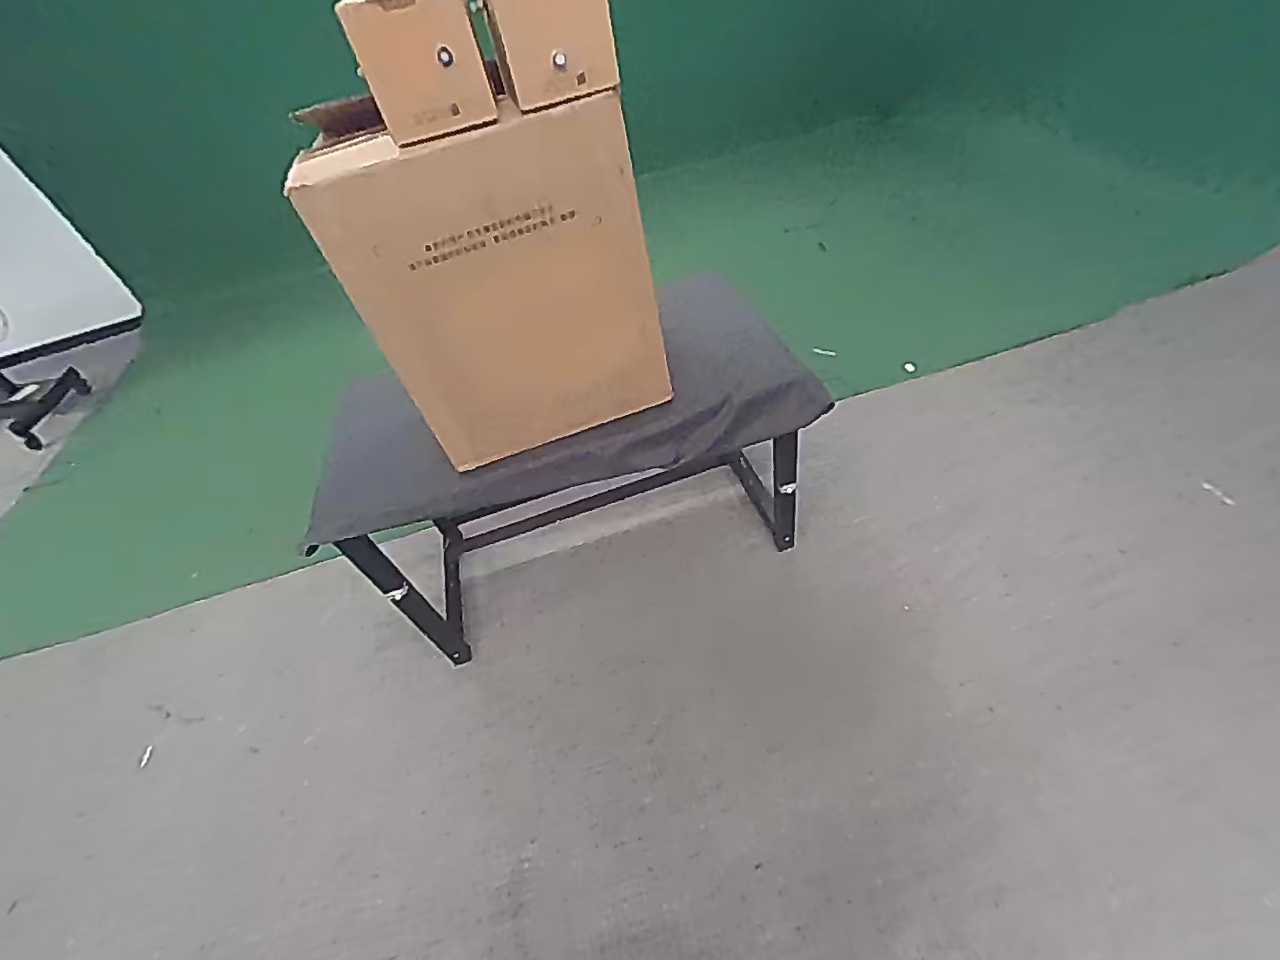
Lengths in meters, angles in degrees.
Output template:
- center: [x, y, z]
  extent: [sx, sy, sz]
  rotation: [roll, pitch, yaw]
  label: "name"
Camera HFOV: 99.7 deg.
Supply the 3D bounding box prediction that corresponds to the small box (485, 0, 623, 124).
- center: [-0.137, -0.687, 0.853]
  extent: [0.168, 0.176, 0.179]
  rotation: [-19, 47, -5]
  label: "small box"
